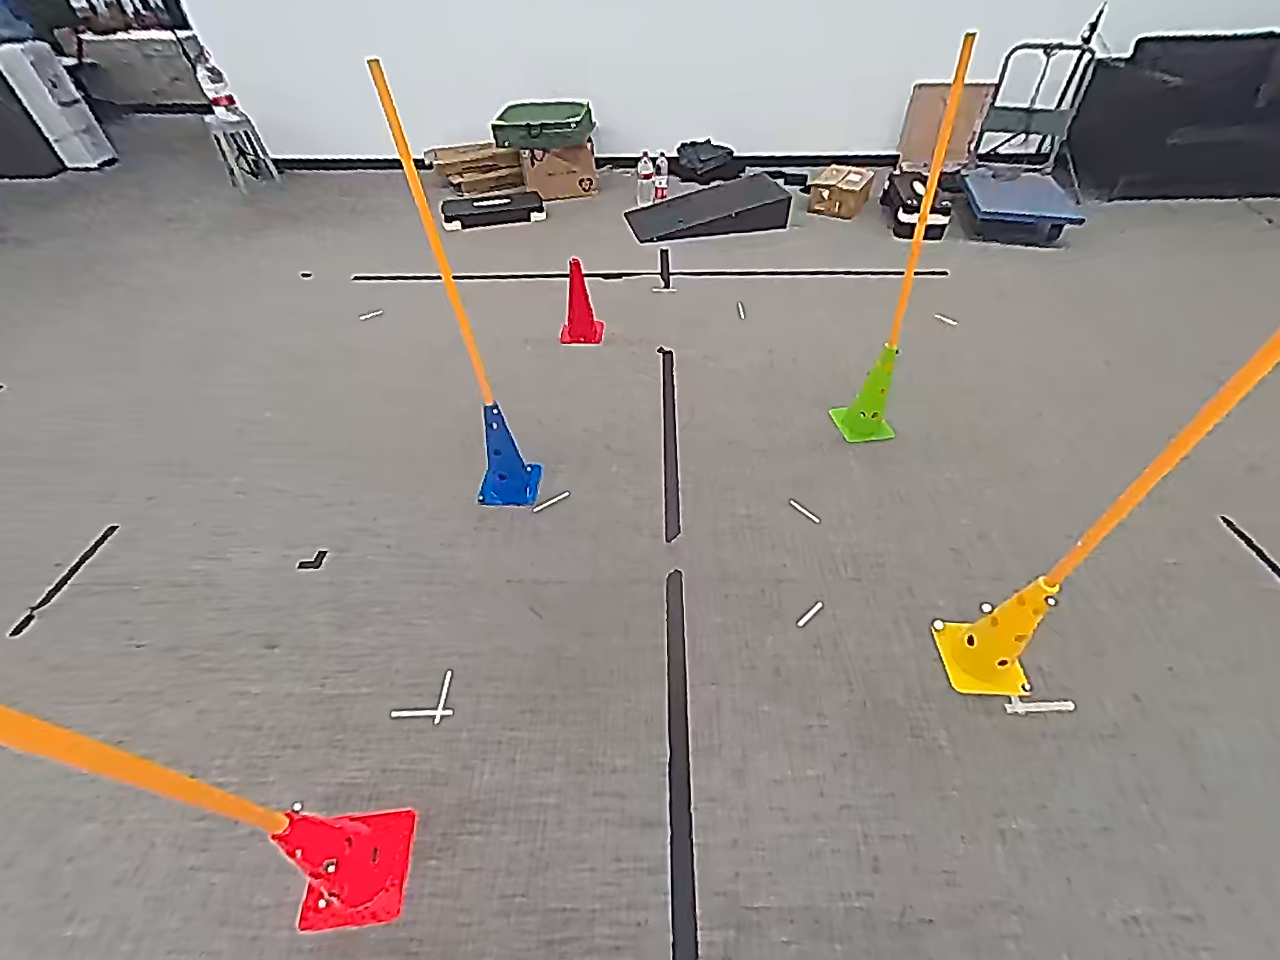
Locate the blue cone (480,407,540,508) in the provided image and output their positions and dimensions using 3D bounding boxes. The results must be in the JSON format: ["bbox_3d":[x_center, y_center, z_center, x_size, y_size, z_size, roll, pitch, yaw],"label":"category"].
[{"bbox_3d":[-0.457,-0.091,1.786,0.193,0.380,0.192,2,46,3],"label":"blue cone"}]

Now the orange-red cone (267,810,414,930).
[{"bbox_3d":[-0.583,0.685,1.001,0.199,0.360,0.198,-3,46,-4],"label":"orange-red cone"}]

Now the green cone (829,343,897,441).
[{"bbox_3d":[0.867,-0.346,2.002,0.200,0.368,0.202,-8,48,-7],"label":"green cone"}]
